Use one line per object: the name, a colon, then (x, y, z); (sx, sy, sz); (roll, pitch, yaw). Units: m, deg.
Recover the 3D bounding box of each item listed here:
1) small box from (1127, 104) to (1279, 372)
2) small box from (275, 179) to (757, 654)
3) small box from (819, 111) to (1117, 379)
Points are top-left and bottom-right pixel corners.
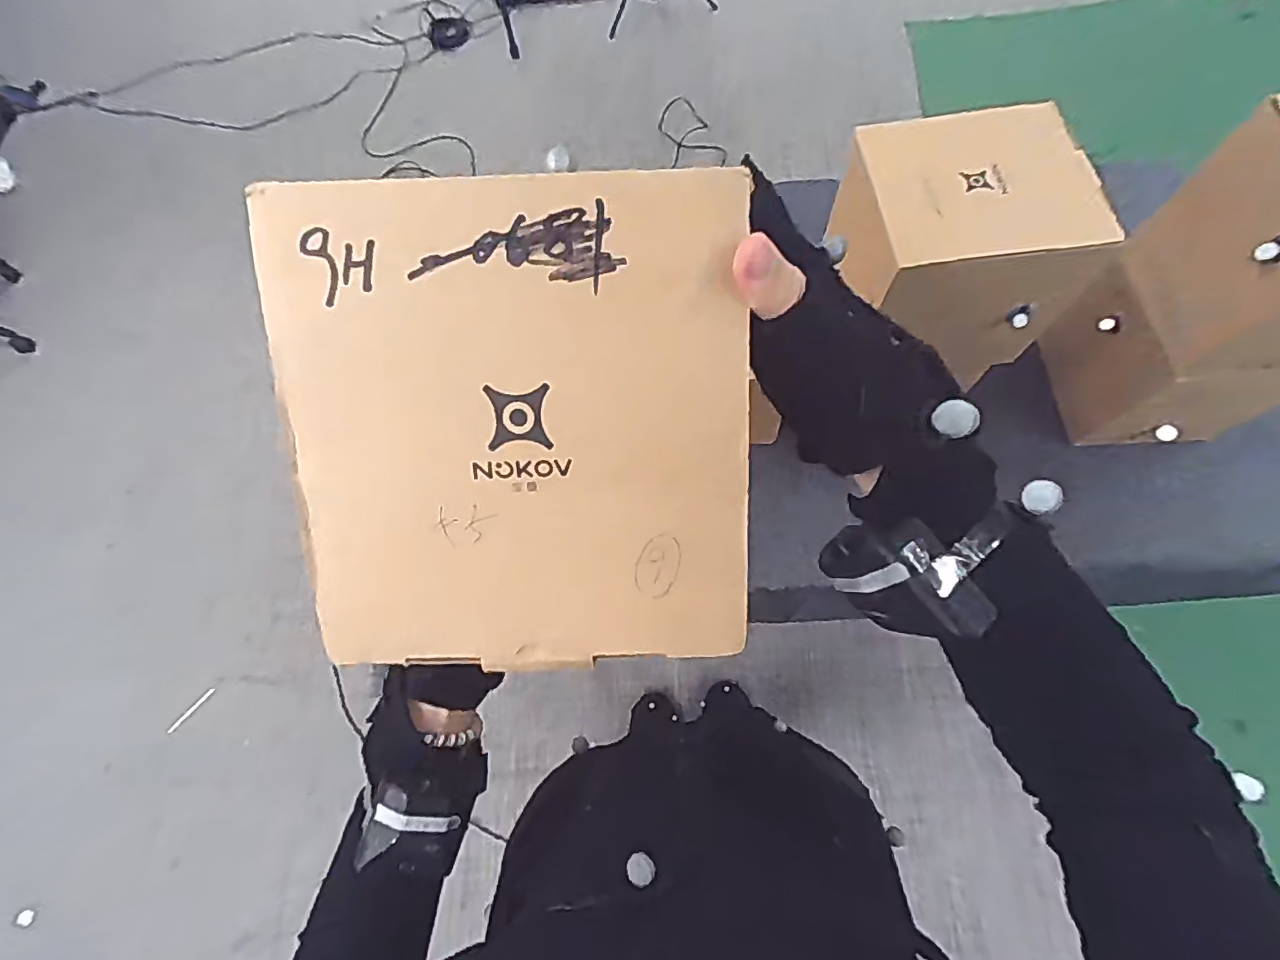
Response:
small box: (0.613, -0.210, 0.496); (0.168, 0.176, 0.179); (-1, 69, 5)
small box: (-0.039, -0.033, 0.278); (0.168, 0.176, 0.179); (-2, 102, 1)
small box: (0.294, -0.217, 0.533); (0.179, 0.176, 0.168); (-5, 67, 4)
